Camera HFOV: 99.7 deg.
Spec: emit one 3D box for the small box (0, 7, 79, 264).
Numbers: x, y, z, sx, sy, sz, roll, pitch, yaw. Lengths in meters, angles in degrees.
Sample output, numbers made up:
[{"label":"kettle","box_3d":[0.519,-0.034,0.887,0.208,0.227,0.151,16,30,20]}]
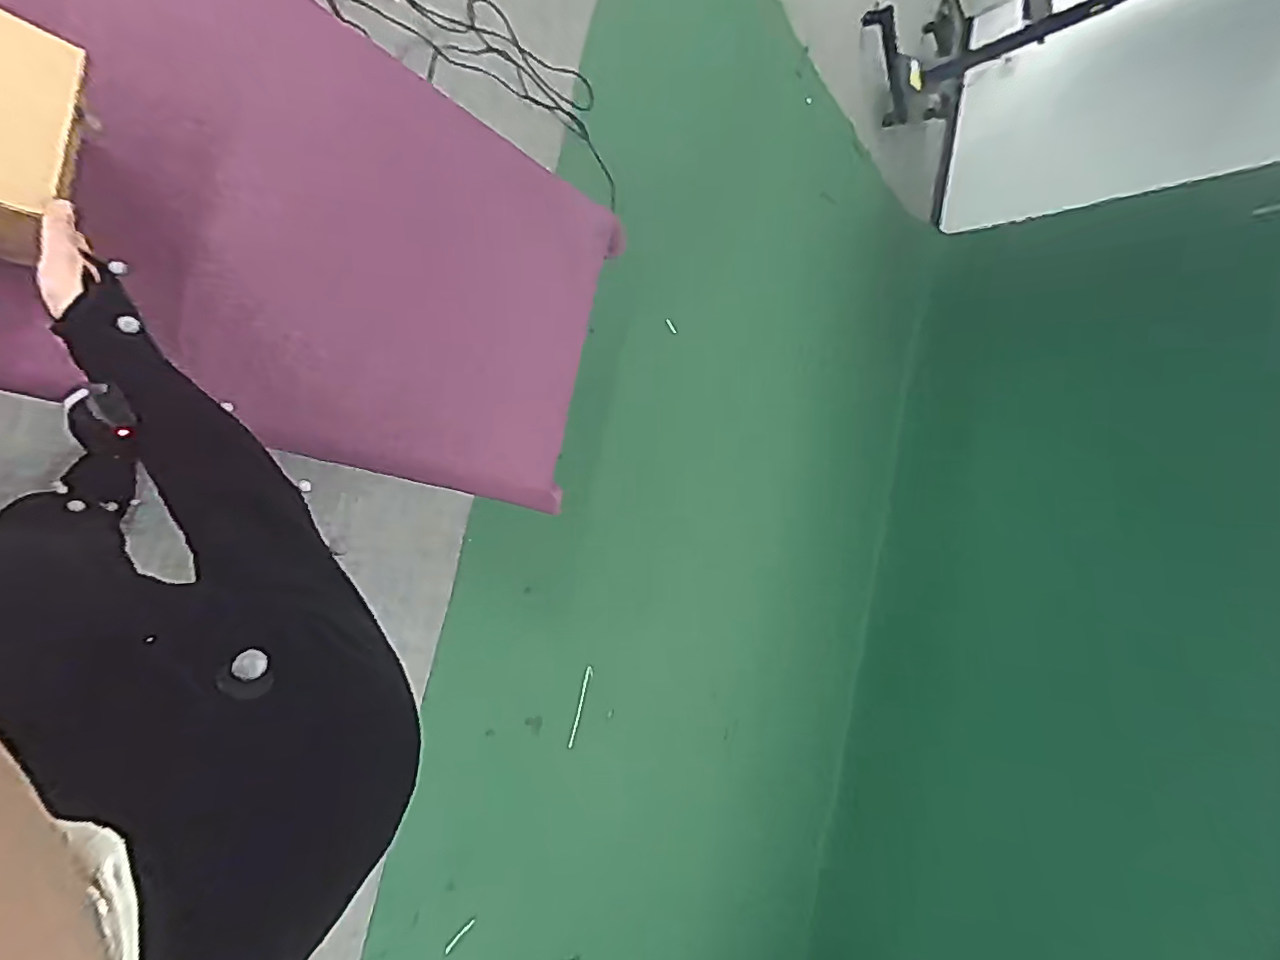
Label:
[{"label":"small box","box_3d":[-0.648,-0.331,0.493,0.168,0.176,0.179,10,81,-46]}]
